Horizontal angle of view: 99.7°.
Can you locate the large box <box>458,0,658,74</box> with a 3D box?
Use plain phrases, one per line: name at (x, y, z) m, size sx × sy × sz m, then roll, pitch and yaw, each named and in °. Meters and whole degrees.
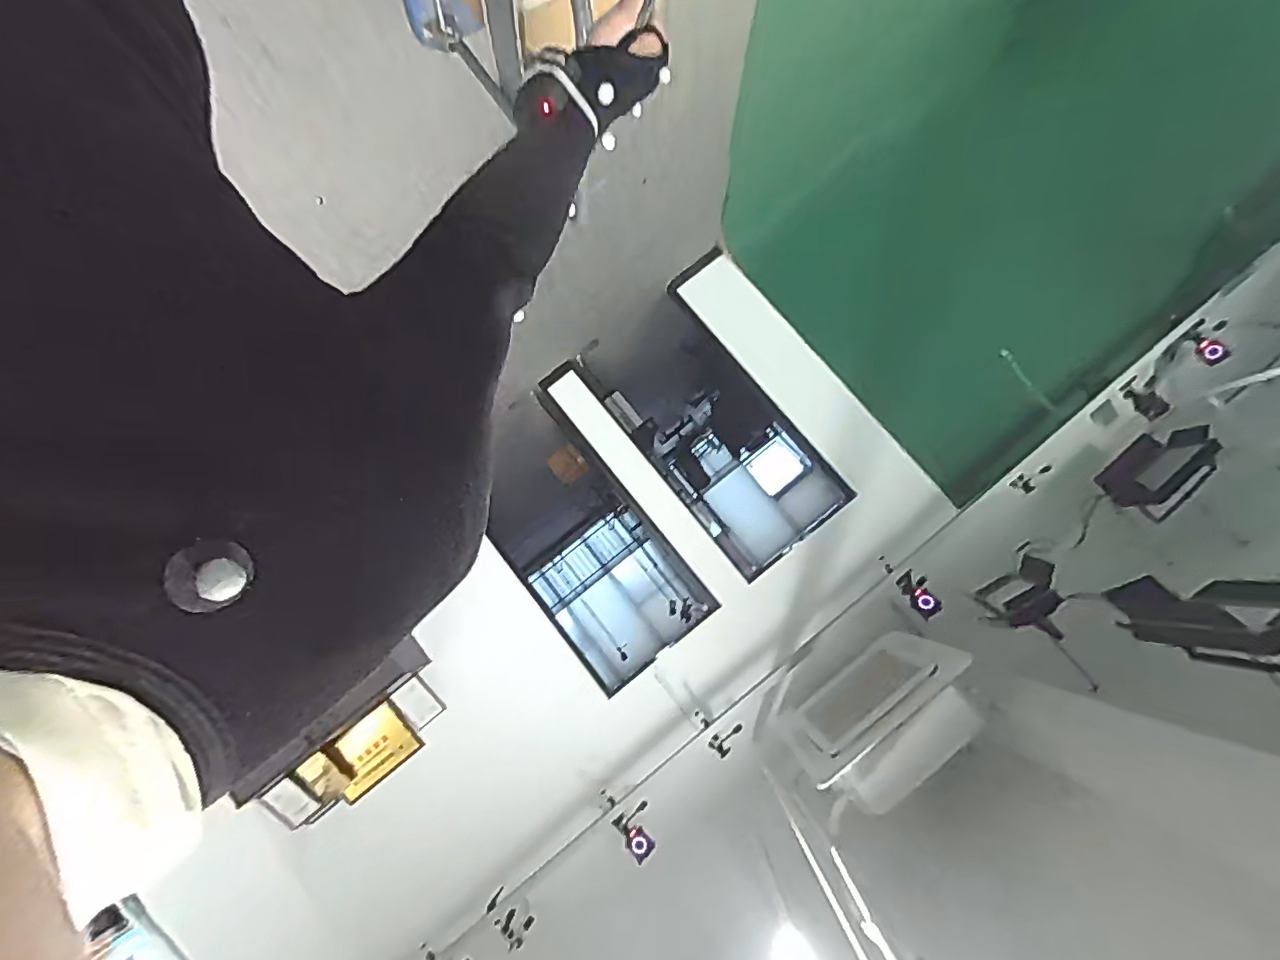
large box at (-0.193, -1.194, 1.154) m, size 0.408 × 0.320 × 0.320 m, roll -38°, pitch 172°, yaw -13°
